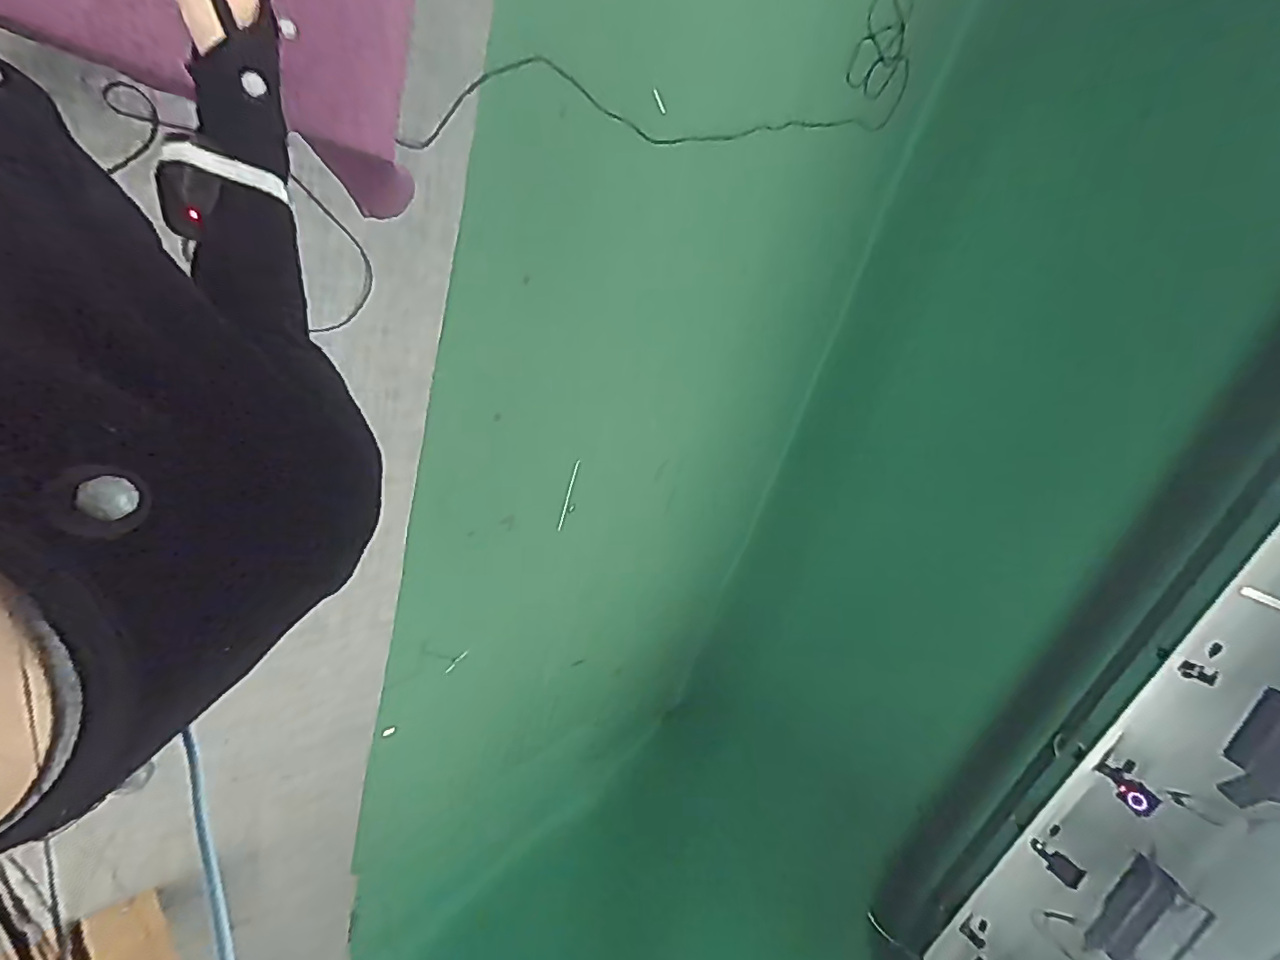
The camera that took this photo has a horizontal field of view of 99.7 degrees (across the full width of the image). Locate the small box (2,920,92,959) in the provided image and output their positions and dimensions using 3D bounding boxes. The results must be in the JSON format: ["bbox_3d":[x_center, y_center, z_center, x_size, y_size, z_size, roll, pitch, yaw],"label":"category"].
[{"bbox_3d":[-1.717,1.449,1.572,0.168,0.176,0.179,-9,123,-51],"label":"small box"}]
